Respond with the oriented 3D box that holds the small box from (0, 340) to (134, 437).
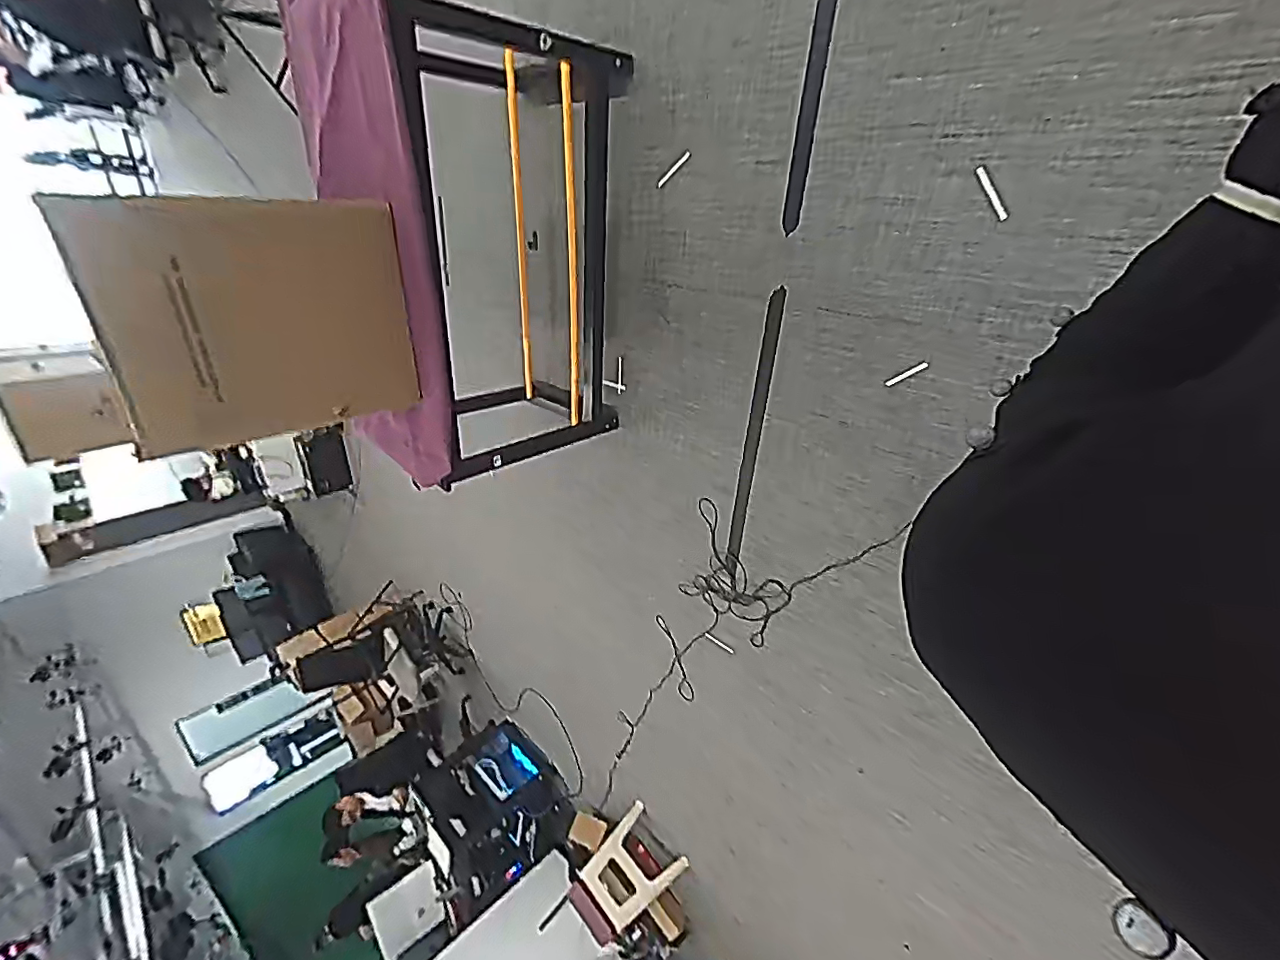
[{"bbox_3d":[-1.309,-0.219,1.239,0.168,0.176,0.179,24,123,39],"label":"small box"}]
